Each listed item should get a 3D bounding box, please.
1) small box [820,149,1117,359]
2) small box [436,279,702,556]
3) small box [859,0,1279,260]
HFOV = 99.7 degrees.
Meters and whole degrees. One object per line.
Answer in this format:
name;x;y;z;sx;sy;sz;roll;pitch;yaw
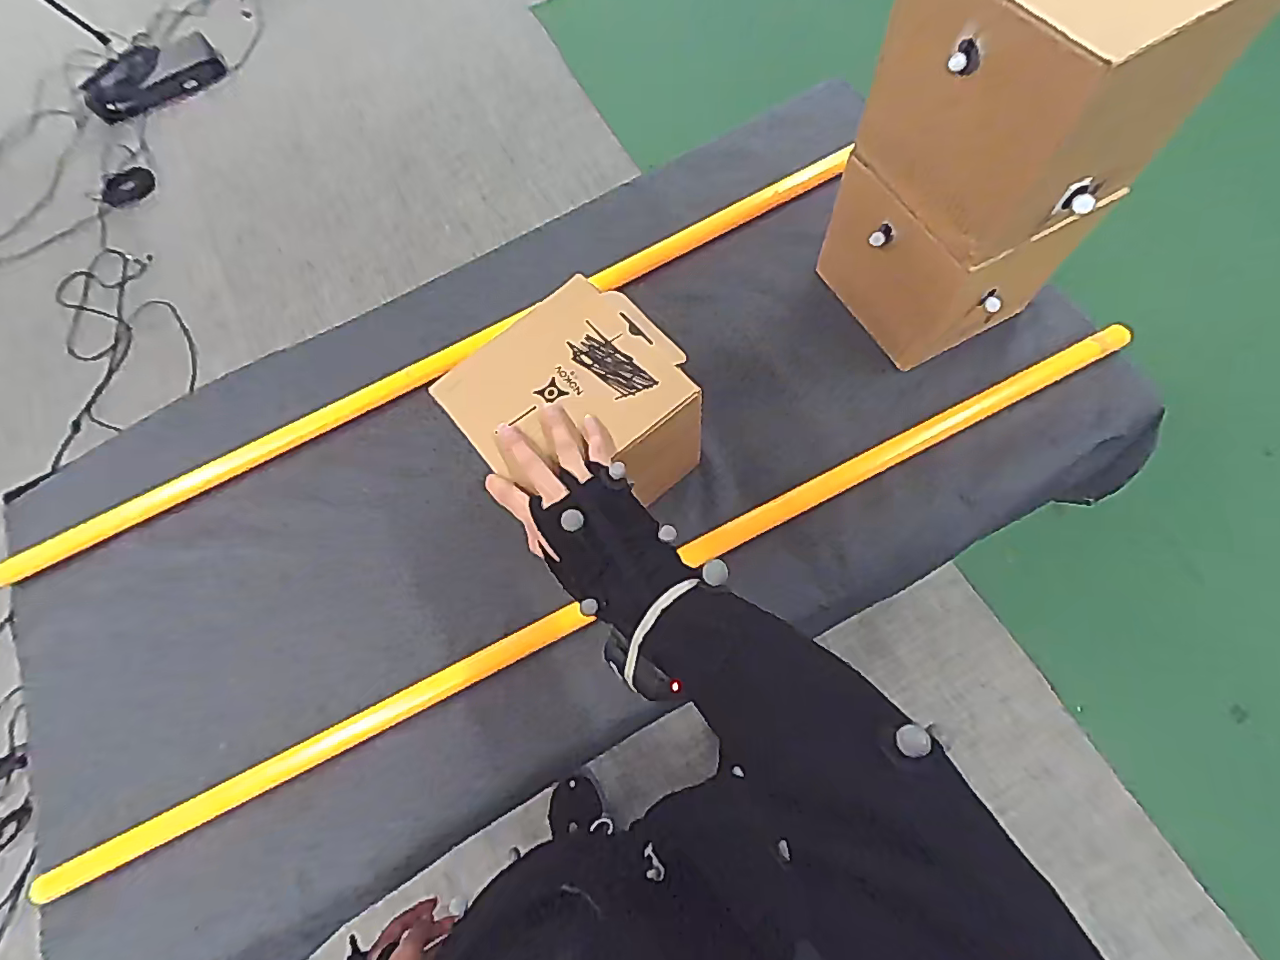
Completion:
small box;0.318;-0.253;0.571;0.168;0.176;0.179;-28;68;-4
small box;-0.057;-0.050;0.536;0.179;0.176;0.168;-39;71;-7
small box;0.303;-0.314;0.421;0.168;0.176;0.179;-30;69;-3
